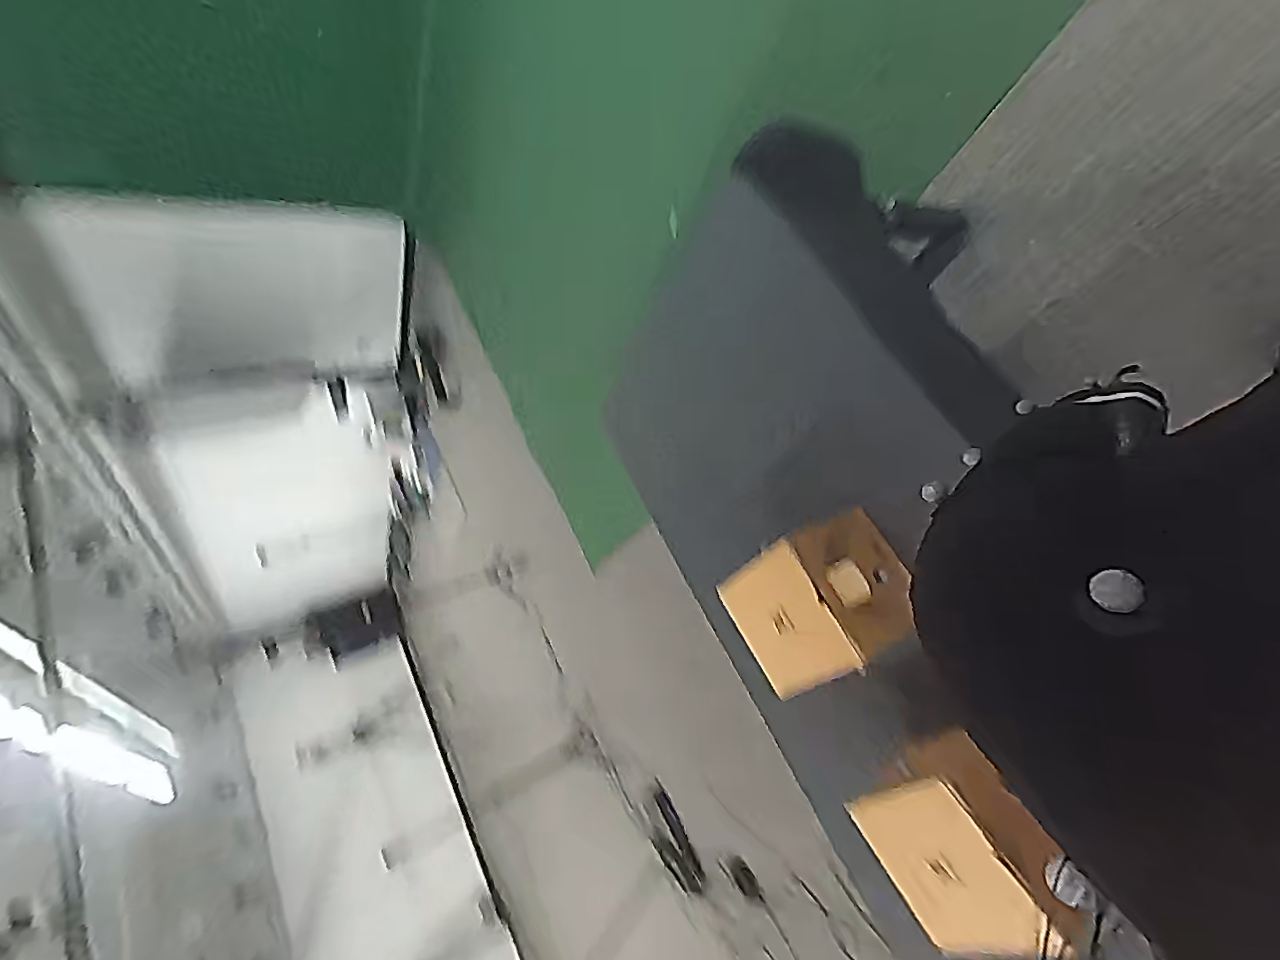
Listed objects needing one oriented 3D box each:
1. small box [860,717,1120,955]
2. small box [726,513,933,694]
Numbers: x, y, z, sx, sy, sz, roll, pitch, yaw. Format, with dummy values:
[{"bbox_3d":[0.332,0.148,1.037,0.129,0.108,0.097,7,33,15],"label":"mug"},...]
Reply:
[{"bbox_3d":[0.411,0.412,0.640,0.168,0.176,0.179,56,143,26],"label":"small box"},{"bbox_3d":[0.260,0.170,0.756,0.168,0.176,0.179,60,143,21],"label":"small box"}]
